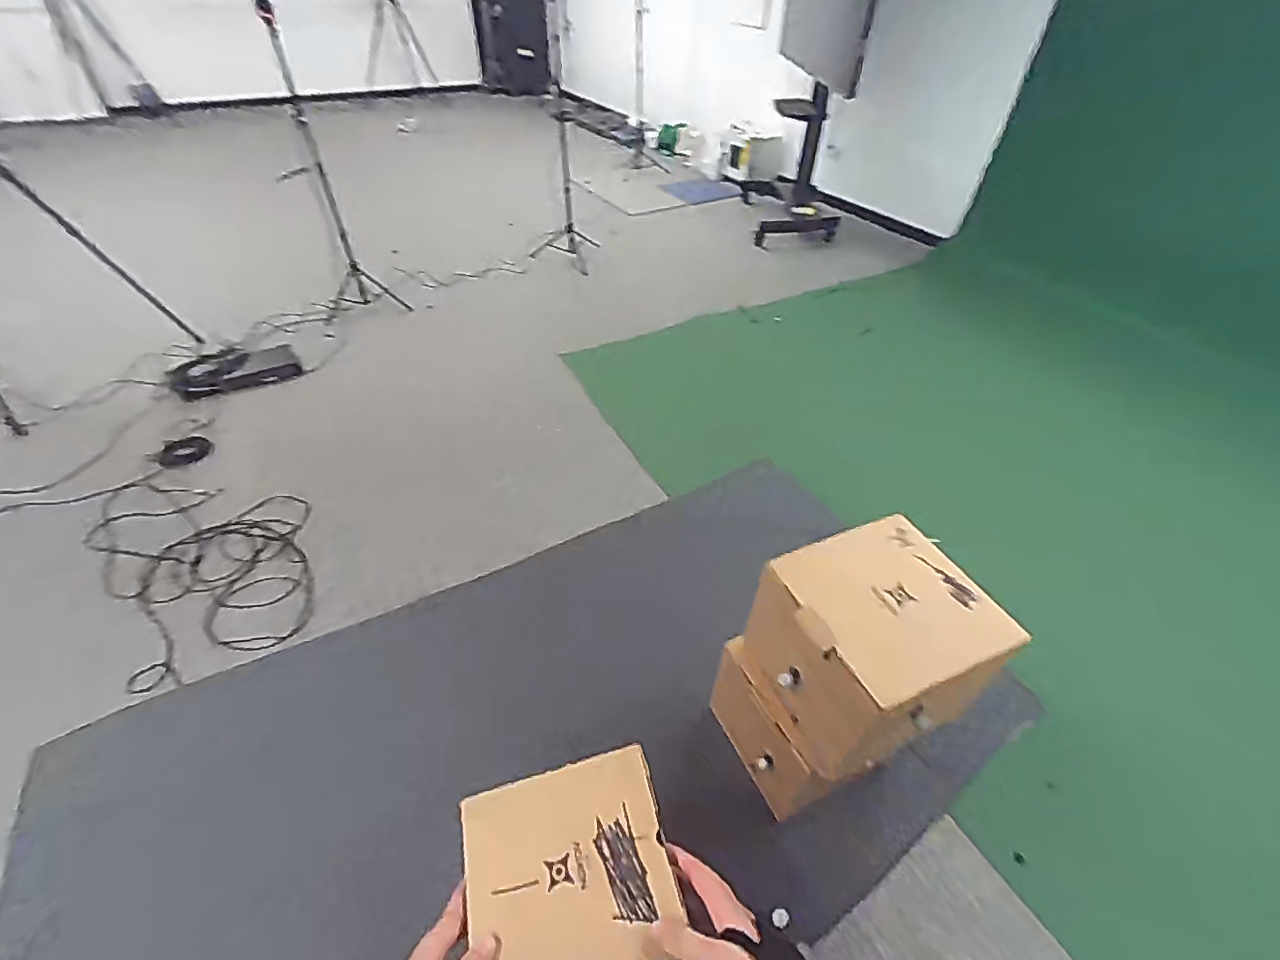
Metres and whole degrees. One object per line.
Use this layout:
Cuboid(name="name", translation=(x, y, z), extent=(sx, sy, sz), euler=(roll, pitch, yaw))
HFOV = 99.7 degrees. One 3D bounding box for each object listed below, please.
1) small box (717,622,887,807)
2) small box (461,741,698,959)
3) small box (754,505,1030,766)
Cuboid(name="small box", translation=(0.210, 0.270, 0.674), extent=(0.179, 0.176, 0.168), euler=(-18, 48, -20))
Cuboid(name="small box", translation=(-0.057, 0.376, 0.509), extent=(0.179, 0.176, 0.168), euler=(-13, 48, -9))
Cuboid(name="small box", translation=(0.232, 0.158, 0.554), extent=(0.179, 0.176, 0.168), euler=(-16, 47, -17))
